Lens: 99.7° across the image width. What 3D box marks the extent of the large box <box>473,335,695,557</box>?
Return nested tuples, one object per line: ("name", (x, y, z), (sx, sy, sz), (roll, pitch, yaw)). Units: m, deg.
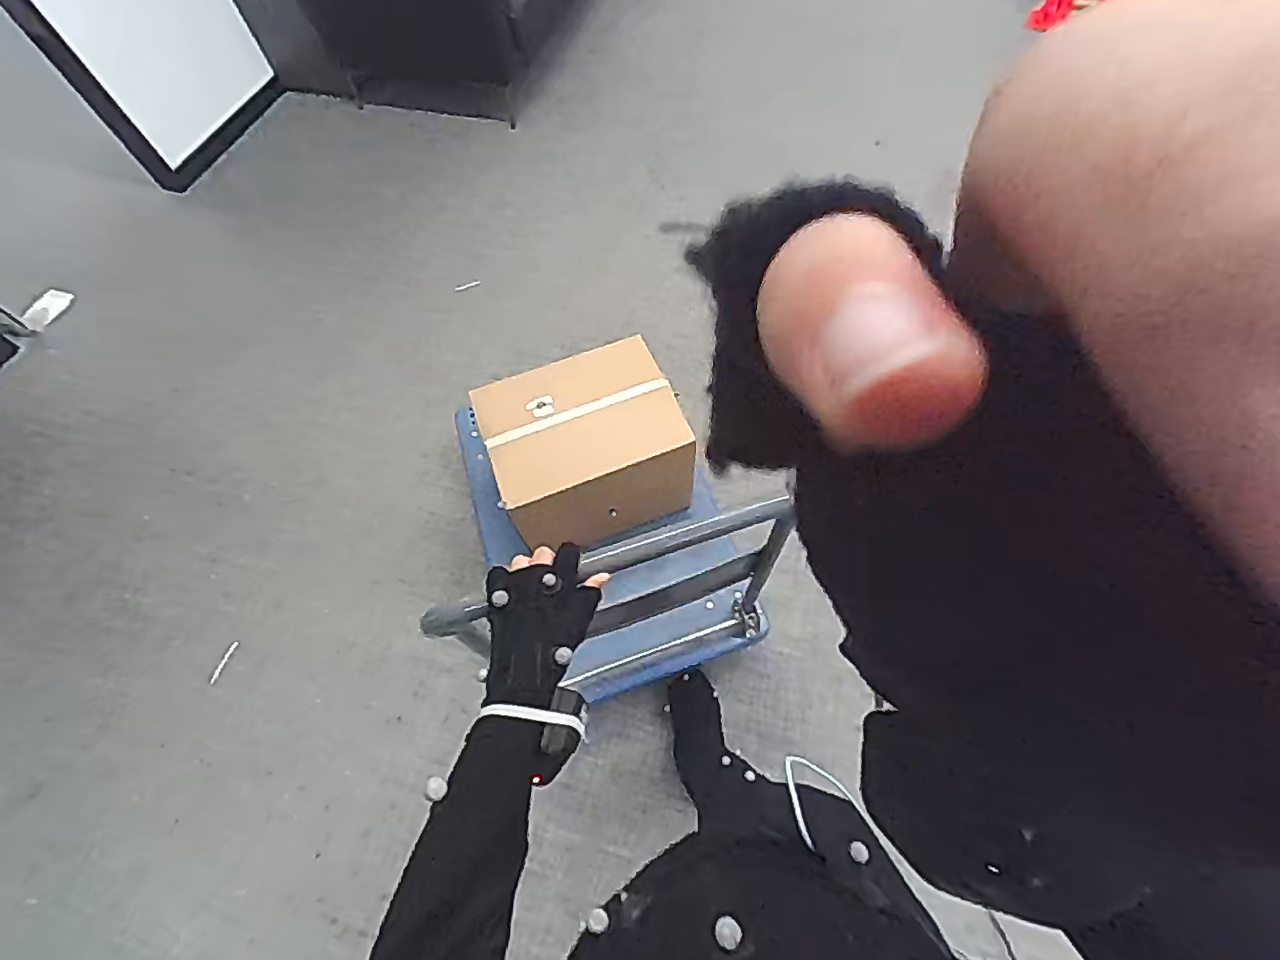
("large box", (-0.119, -0.069, 1.269), (0.408, 0.320, 0.320), (-21, 63, -8))
